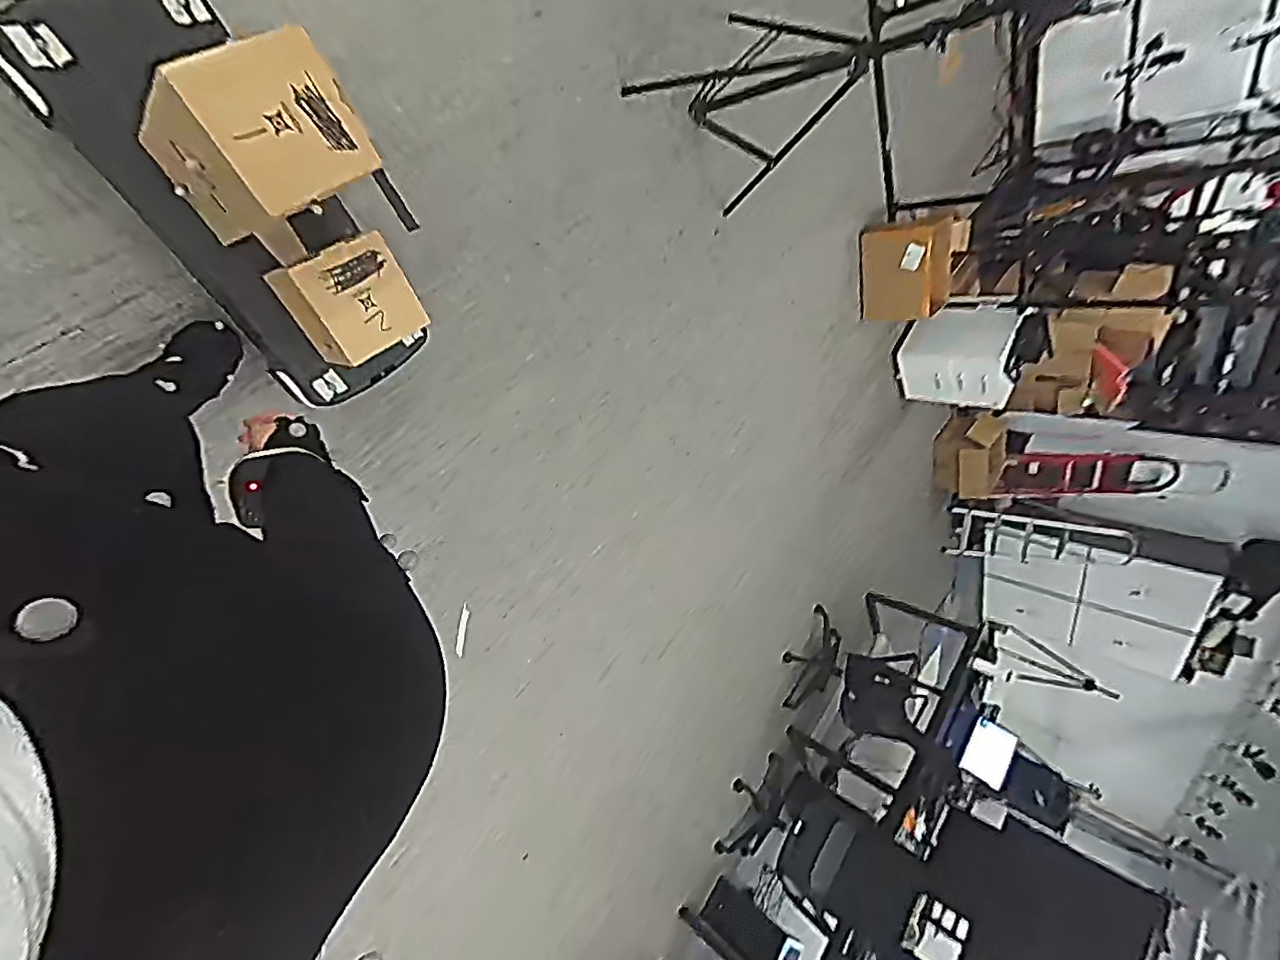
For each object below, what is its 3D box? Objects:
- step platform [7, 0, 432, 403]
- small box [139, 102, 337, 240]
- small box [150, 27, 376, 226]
[{"bbox_3d":[-0.706,-0.480,1.014,0.286,0.204,0.684,-48,131,-26],"label":"step platform"},{"bbox_3d":[-0.624,-0.494,0.840,0.179,0.176,0.168,-46,130,-27],"label":"small box"},{"bbox_3d":[-0.506,-0.465,0.729,0.179,0.176,0.168,-46,130,-27],"label":"small box"}]
